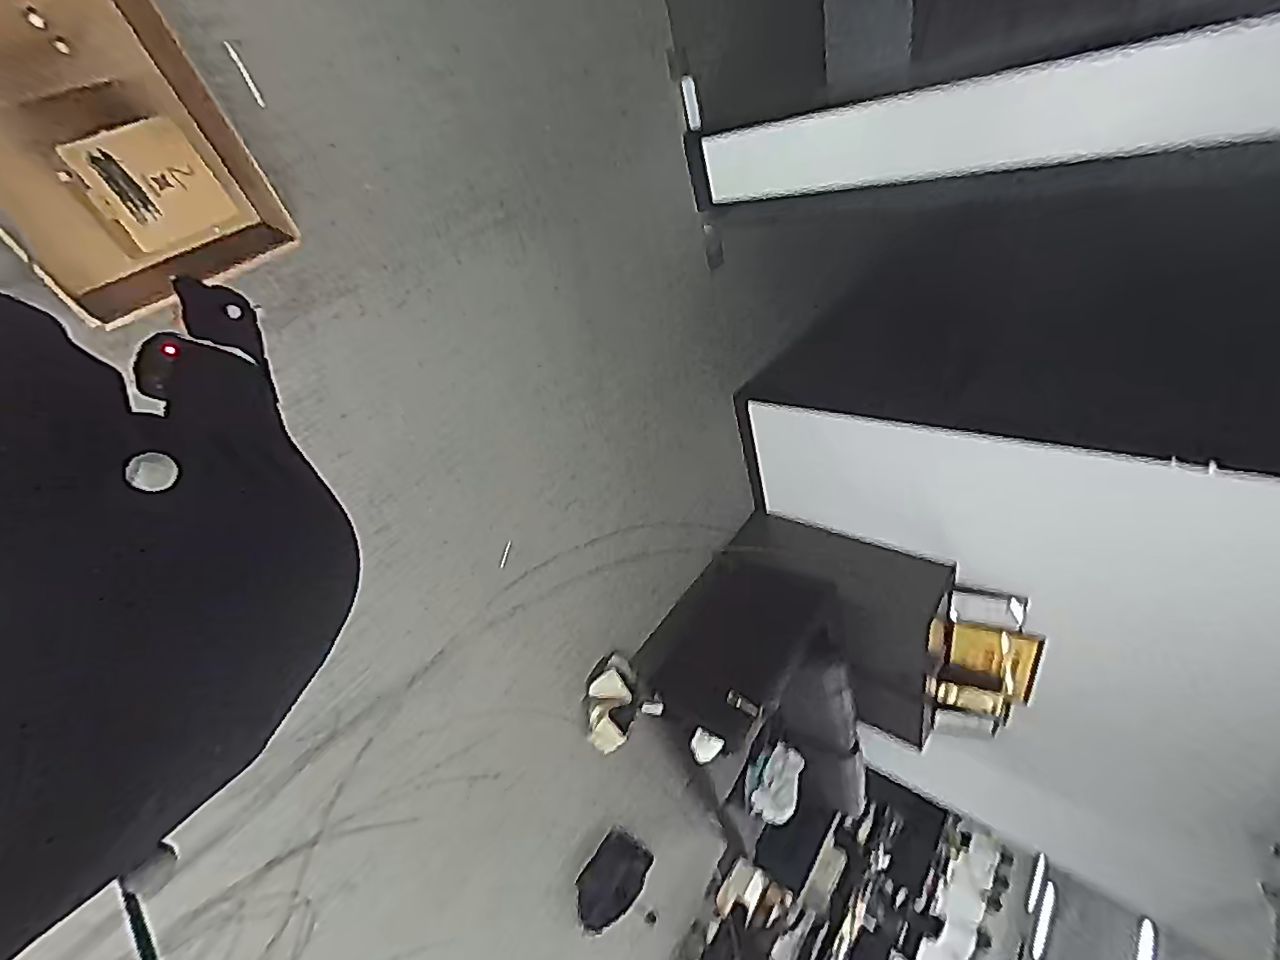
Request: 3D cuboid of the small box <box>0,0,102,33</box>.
[{"bbox_3d":[-0.838,-0.692,0.681,0.179,0.176,0.168,-46,136,-30],"label":"small box"}]
